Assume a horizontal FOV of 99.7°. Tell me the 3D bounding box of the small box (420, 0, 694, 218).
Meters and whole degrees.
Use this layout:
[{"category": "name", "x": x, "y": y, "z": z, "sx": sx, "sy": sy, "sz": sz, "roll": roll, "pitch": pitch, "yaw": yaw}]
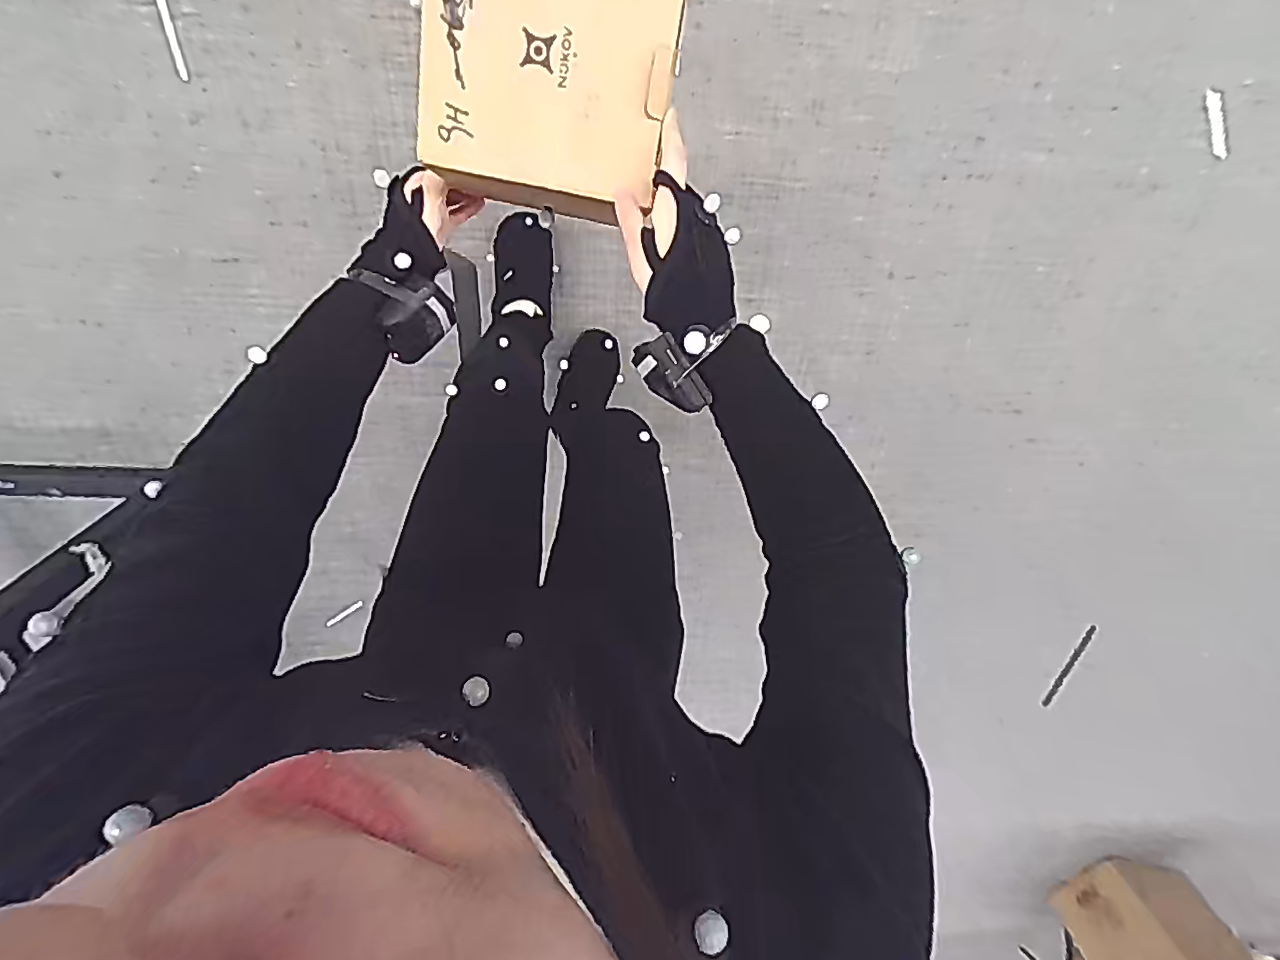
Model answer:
[{"category": "small box", "x": -0.067, "y": -0.326, "z": 0.448, "sx": 0.179, "sy": 0.176, "sz": 0.168, "roll": 8, "pitch": 109, "yaw": -9}]
